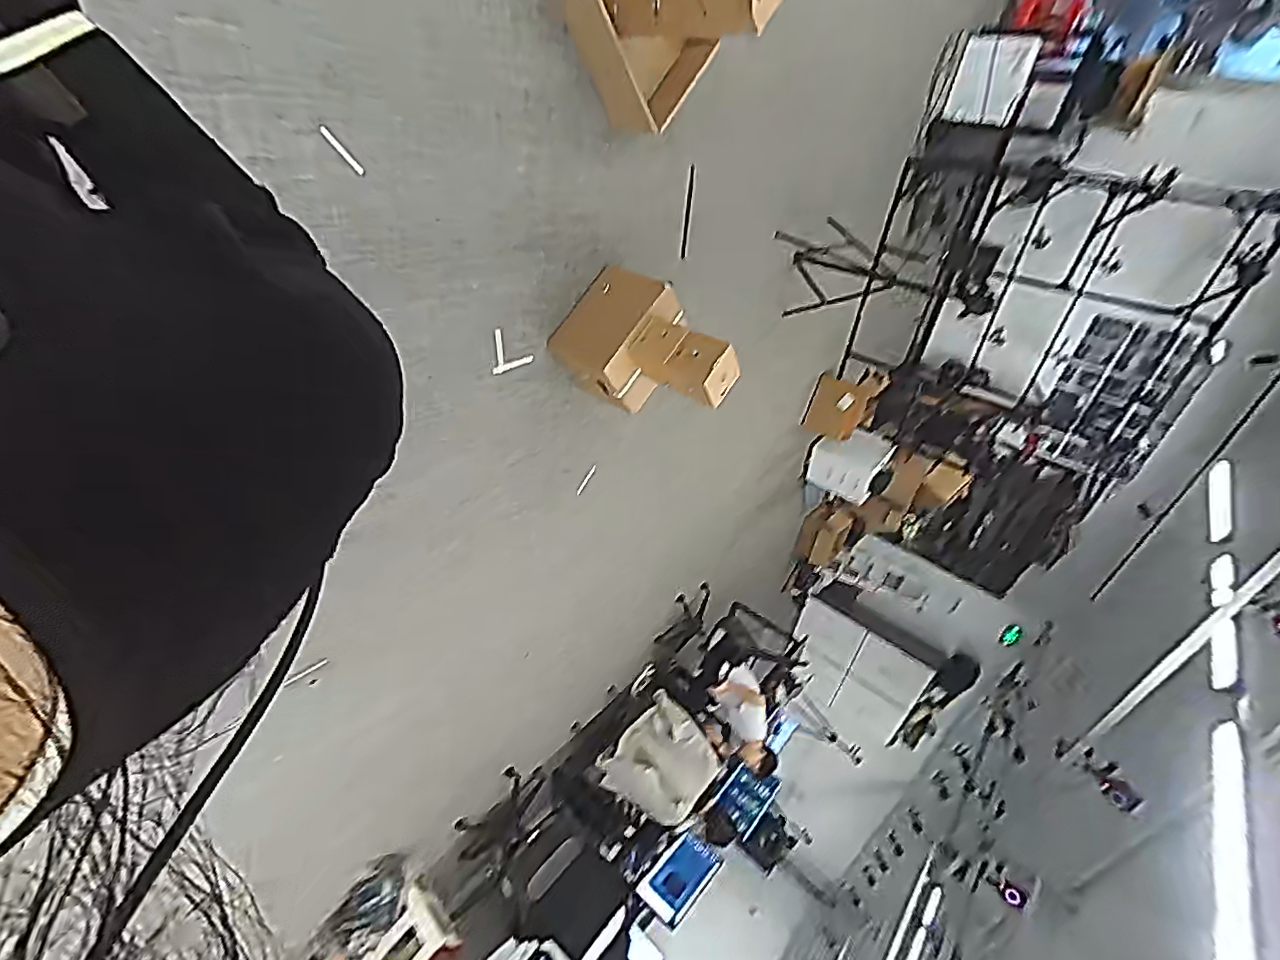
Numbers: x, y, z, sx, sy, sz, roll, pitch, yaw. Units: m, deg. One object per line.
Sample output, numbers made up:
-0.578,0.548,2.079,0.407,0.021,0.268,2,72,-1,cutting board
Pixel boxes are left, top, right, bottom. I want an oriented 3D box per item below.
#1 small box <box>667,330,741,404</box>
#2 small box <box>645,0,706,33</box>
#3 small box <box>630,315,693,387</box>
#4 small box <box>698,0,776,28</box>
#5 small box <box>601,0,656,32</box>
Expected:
0.217,-0.394,1.858,0.168,0.176,0.179,-54,148,-8,small box
0.120,-1.335,1.431,0.179,0.176,0.168,-56,148,-5,small box
0.091,-0.467,1.934,0.168,0.176,0.179,-55,149,-8,small box
0.245,-1.270,1.346,0.179,0.176,0.168,-59,149,-5,small box
-0.002,-1.404,1.513,0.179,0.176,0.168,-56,149,-7,small box
